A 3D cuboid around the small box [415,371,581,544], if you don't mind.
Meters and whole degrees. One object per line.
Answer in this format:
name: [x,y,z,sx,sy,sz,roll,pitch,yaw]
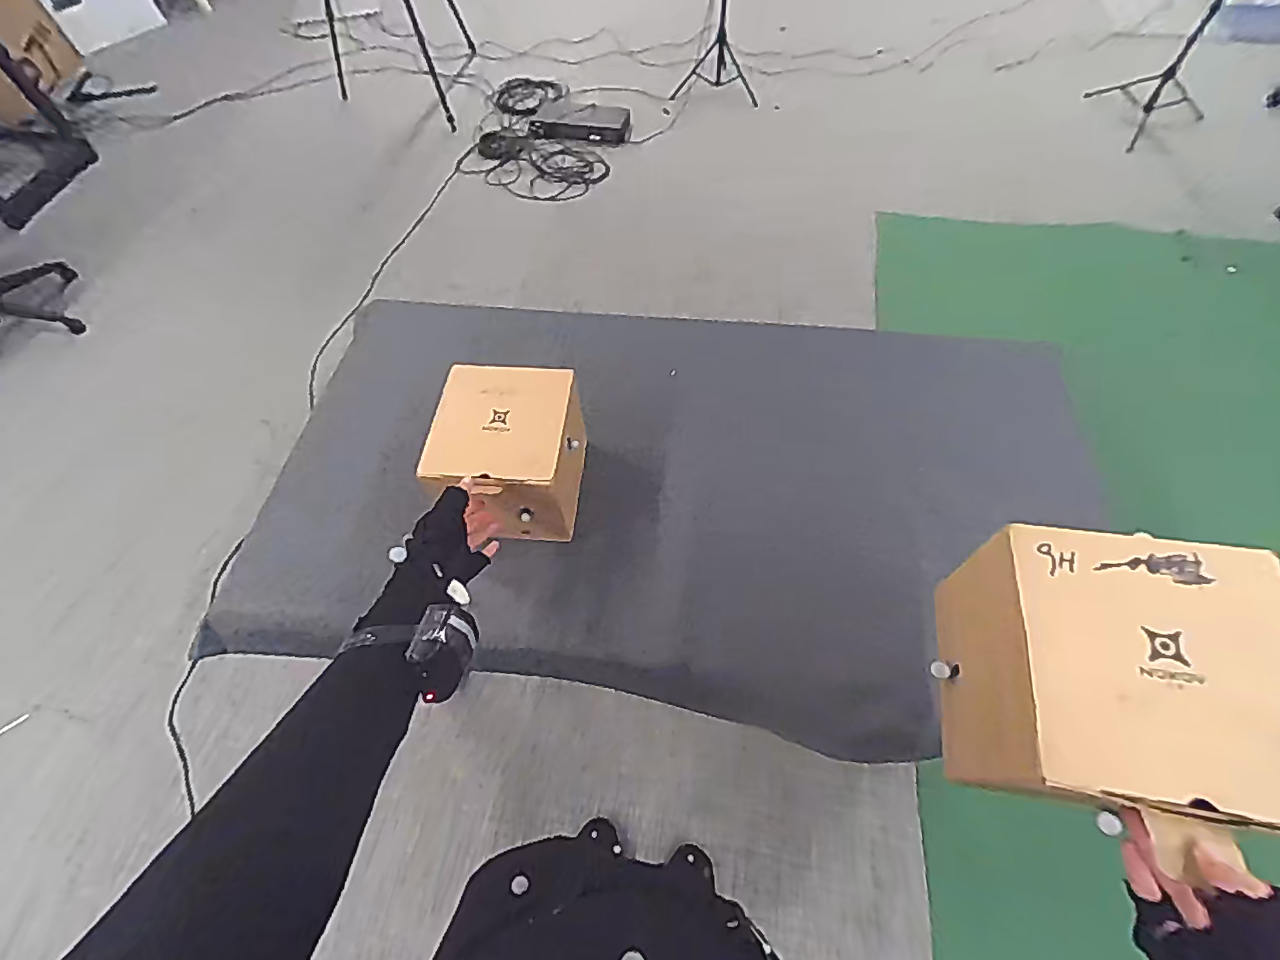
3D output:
small box: [-0.177,-0.025,0.737,0.168,0.176,0.179,3,58,2]
